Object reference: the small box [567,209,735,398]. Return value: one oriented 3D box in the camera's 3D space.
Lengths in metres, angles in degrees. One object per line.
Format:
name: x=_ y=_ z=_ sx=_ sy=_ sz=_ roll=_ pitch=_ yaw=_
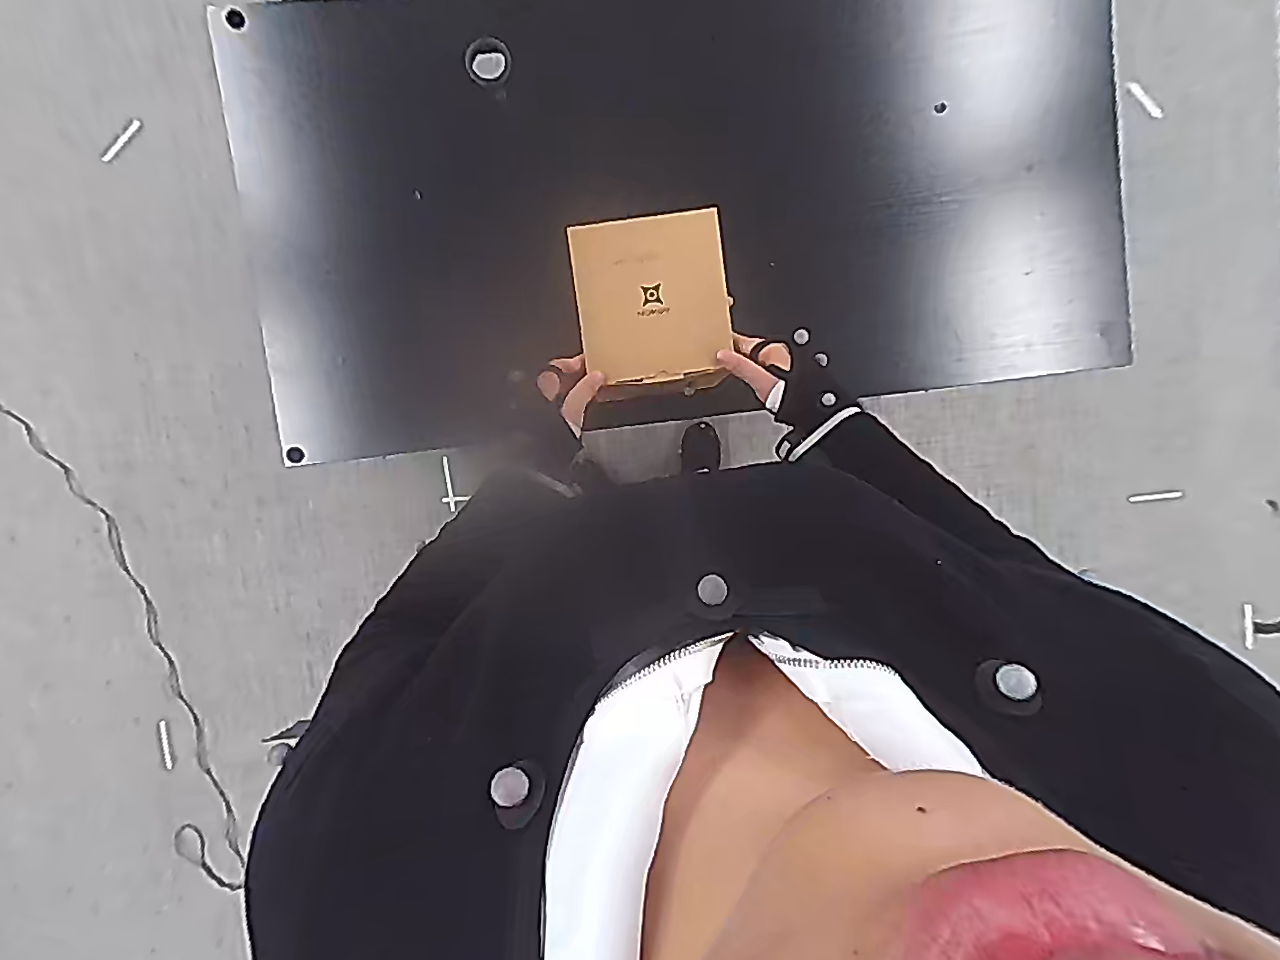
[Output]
small box: x=0.012 y=-0.199 z=0.662 sx=0.168 sy=0.176 sz=0.179 roll=-8 pitch=92 yaw=-1
